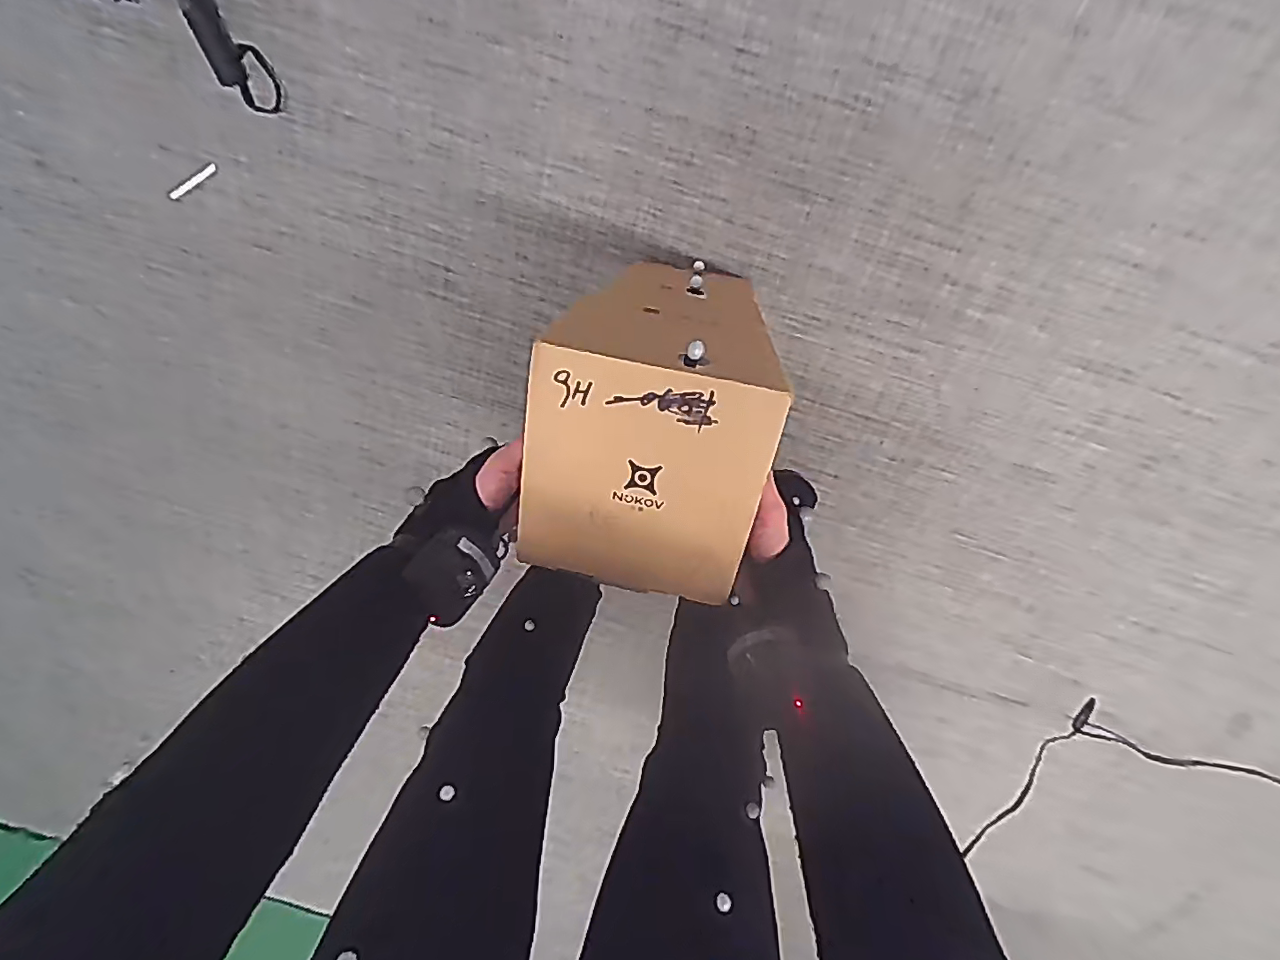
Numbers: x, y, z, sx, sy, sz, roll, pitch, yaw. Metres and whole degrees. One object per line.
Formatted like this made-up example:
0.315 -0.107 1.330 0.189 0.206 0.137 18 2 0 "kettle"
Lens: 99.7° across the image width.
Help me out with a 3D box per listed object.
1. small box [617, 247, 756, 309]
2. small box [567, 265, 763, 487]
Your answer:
0.051 -0.196 0.719 0.168 0.176 0.179 12 120 2 "small box"
0.026 -0.118 0.579 0.168 0.176 0.179 10 118 2 "small box"
